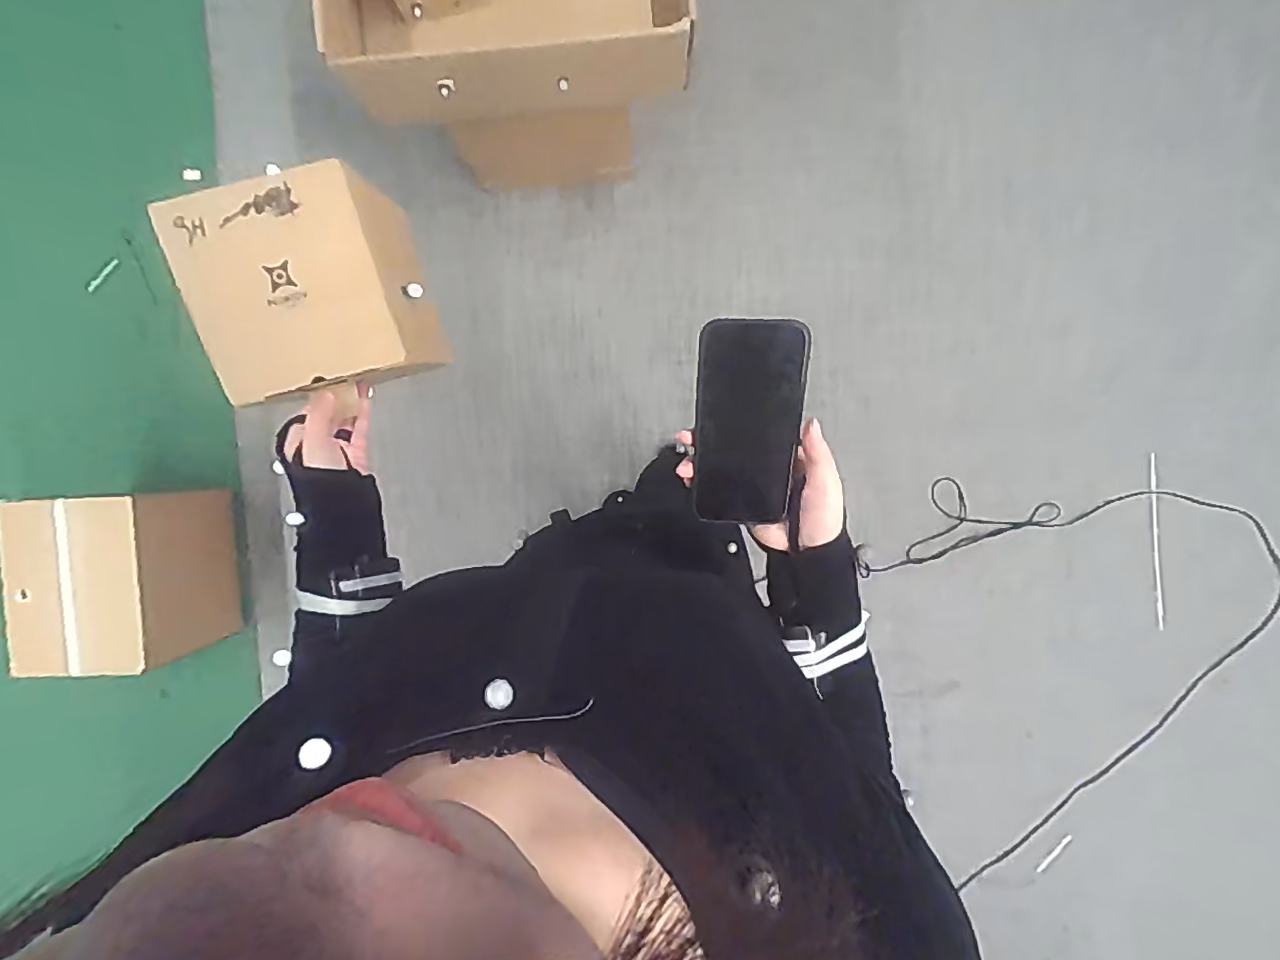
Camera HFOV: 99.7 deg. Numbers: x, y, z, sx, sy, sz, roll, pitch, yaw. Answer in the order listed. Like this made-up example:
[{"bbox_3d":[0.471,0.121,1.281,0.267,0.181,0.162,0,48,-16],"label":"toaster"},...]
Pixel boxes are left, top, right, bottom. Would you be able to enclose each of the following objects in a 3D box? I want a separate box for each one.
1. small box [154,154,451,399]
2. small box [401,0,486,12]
[{"bbox_3d":[-0.312,-0.192,0.548,0.168,0.176,0.179,-14,104,-1],"label":"small box"},{"bbox_3d":[-0.365,-0.942,0.910,0.168,0.176,0.179,-11,91,1],"label":"small box"}]
